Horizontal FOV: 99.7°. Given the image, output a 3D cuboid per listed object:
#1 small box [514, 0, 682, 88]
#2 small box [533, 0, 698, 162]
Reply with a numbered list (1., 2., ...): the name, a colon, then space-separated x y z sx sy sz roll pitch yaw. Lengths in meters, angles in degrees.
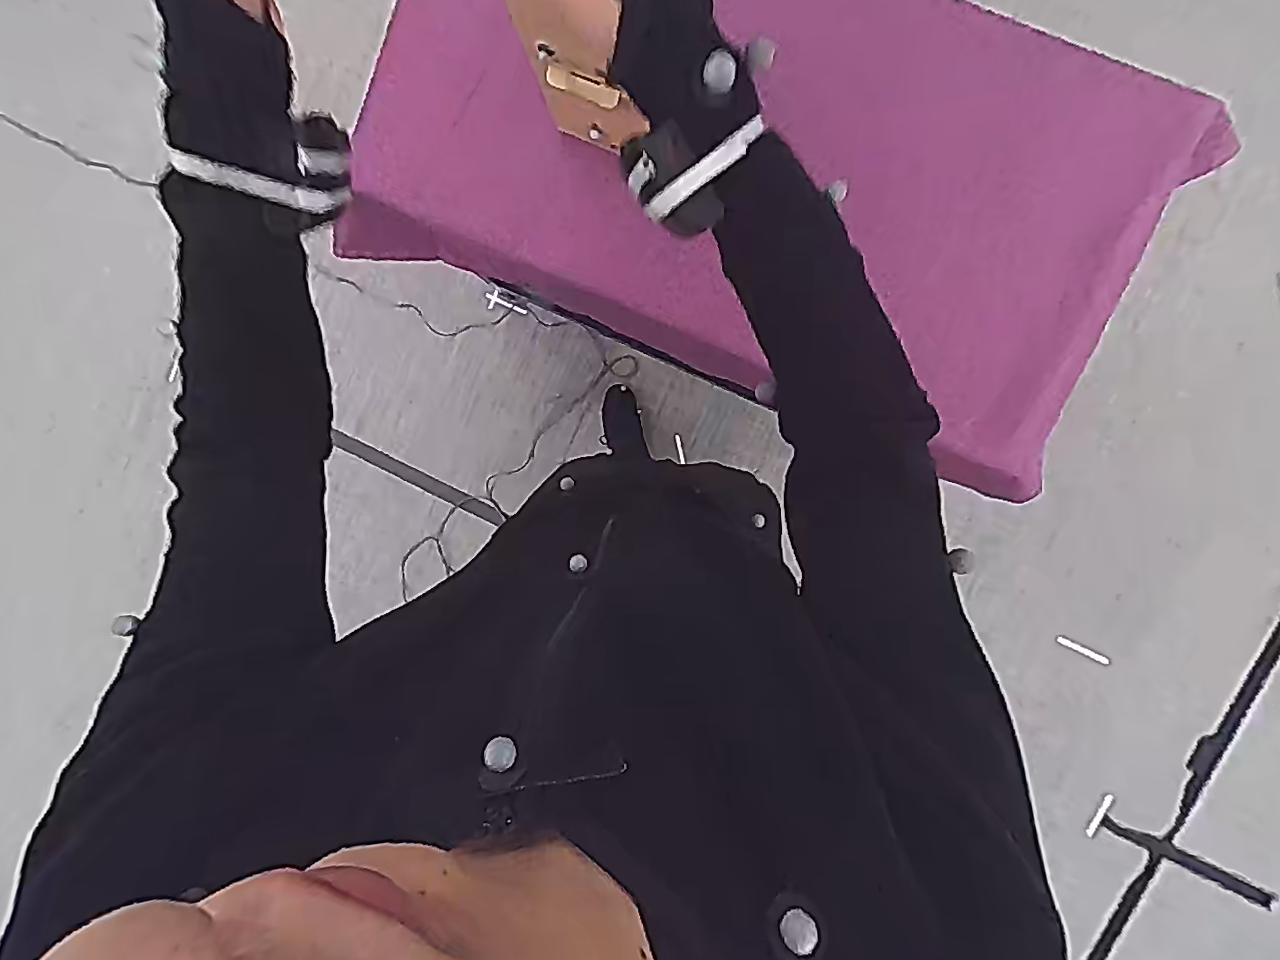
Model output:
1. small box: -0.041 -0.592 0.604 0.168 0.176 0.179 20 95 3
2. small box: -0.026 -0.602 0.767 0.168 0.176 0.179 25 96 3
